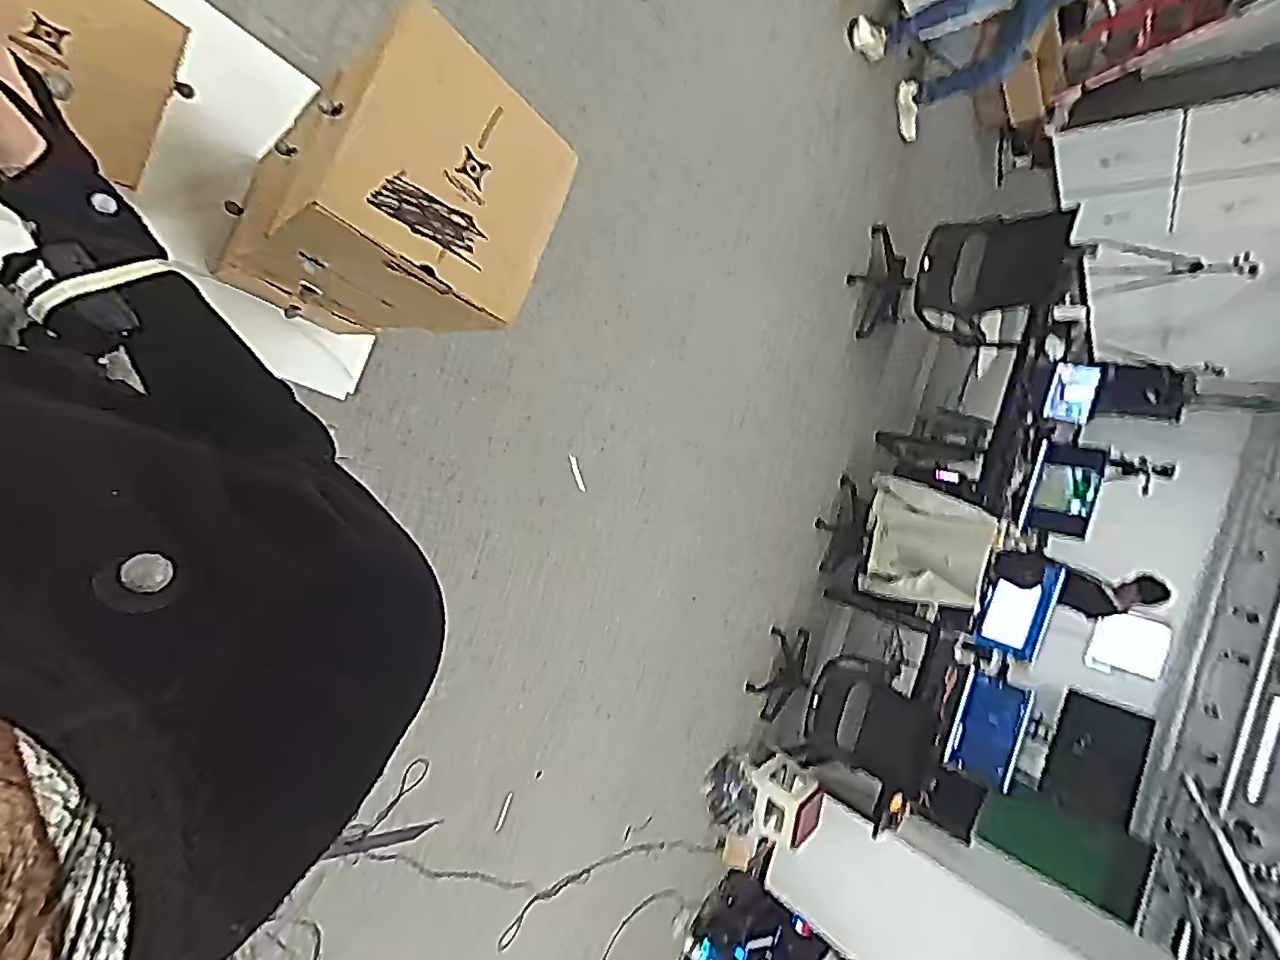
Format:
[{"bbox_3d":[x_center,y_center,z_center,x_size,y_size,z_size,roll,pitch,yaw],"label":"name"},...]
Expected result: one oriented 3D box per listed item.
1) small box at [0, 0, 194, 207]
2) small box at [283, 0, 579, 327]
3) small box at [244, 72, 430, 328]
[{"bbox_3d":[-0.575,-0.399,0.526,0.168,0.176,0.179,20,87,-47],"label":"small box"},{"bbox_3d":[-0.190,-0.251,0.484,0.168,0.176,0.179,26,81,-45],"label":"small box"},{"bbox_3d":[-0.305,-0.286,0.597,0.168,0.176,0.179,25,84,-45],"label":"small box"}]
